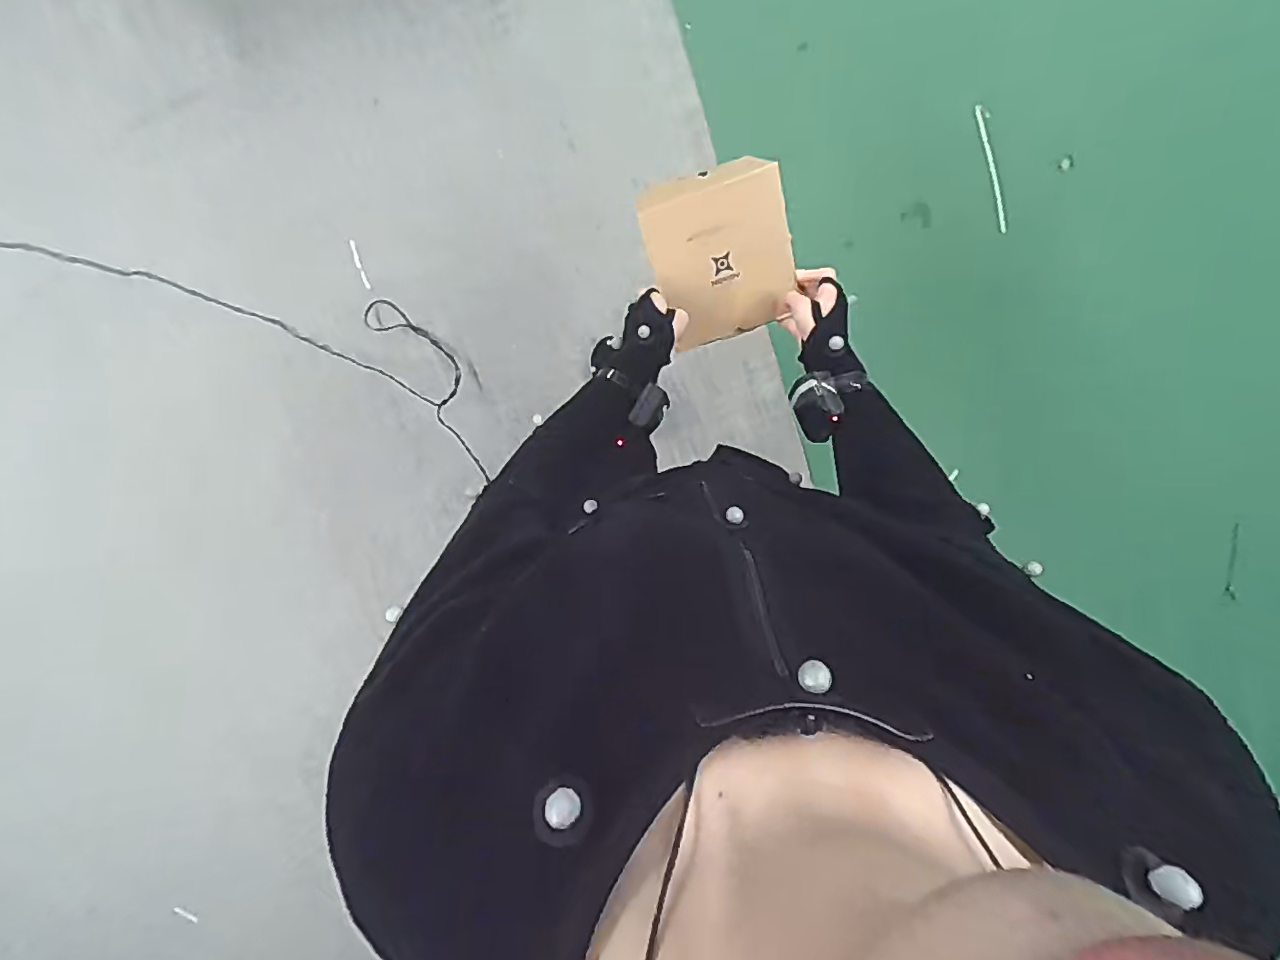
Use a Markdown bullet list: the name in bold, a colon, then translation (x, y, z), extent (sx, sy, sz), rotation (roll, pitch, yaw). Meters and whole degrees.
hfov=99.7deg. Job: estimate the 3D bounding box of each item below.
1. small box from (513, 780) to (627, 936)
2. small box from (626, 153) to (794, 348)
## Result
- **small box**: translation (-0.131, 0.752, 1.091), extent (0.168, 0.176, 0.179), rotation (-19, 95, 4)
- **small box**: translation (0.086, -0.302, 0.703), extent (0.168, 0.176, 0.179), rotation (-17, 122, 8)
